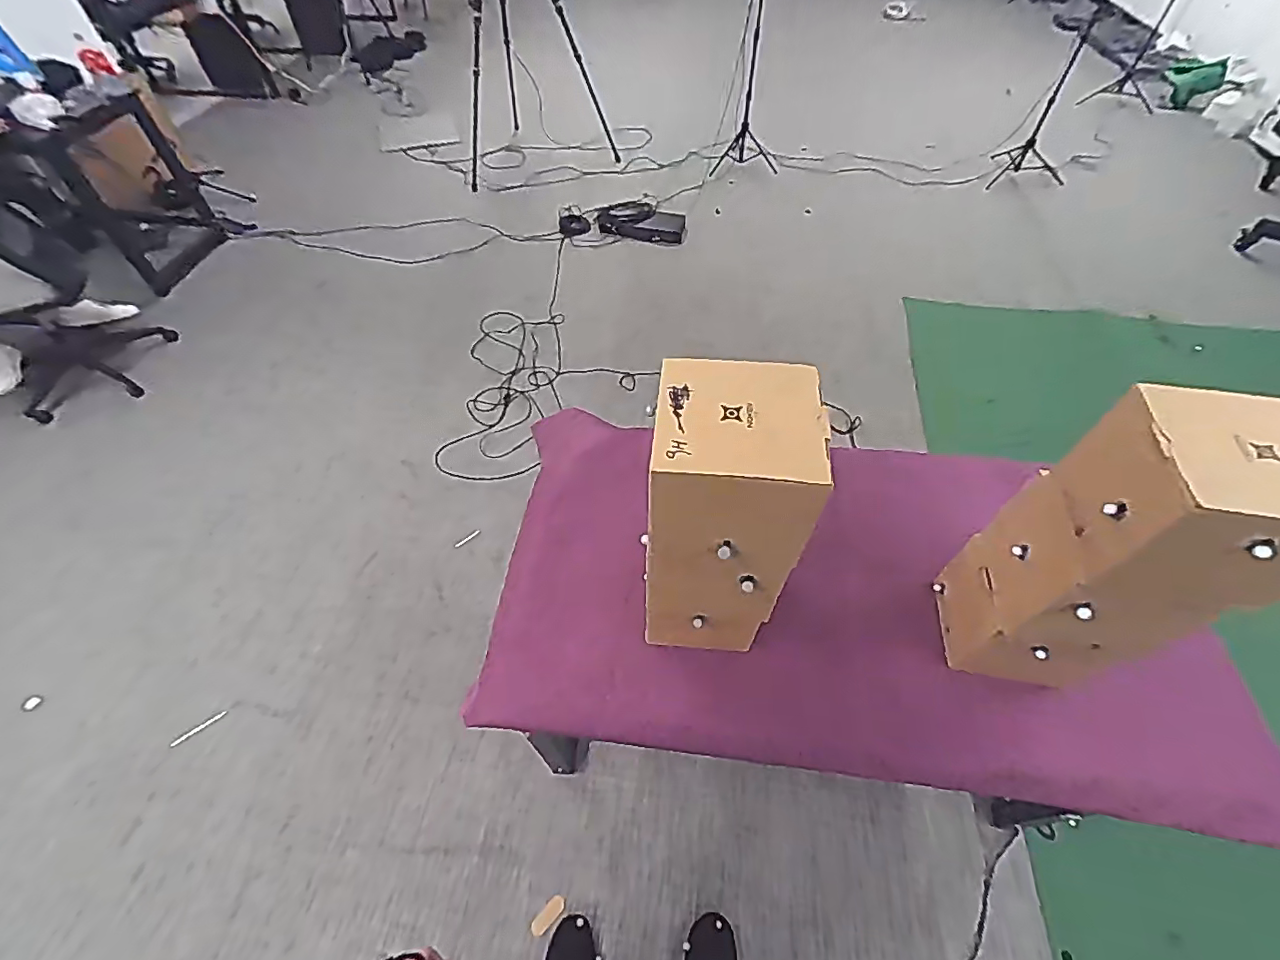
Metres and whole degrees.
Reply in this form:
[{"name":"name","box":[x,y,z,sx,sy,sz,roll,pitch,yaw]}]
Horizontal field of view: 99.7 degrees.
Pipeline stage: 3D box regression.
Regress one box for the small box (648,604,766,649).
[{"name":"small box","box":[0.107,0.172,0.900,0.179,0.176,0.168,3,53,5]}]

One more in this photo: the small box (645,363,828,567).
[{"name":"small box","box":[0.102,-0.012,0.627,0.179,0.176,0.168,5,53,4]}]

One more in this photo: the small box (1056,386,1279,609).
[{"name":"small box","box":[0.594,0.023,0.586,0.179,0.176,0.168,9,54,8]}]

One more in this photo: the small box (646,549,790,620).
[{"name":"small box","box":[0.104,0.084,0.760,0.179,0.176,0.168,5,53,5]}]

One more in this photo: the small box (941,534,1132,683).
[{"name":"small box","box":[0.602,0.207,0.857,0.179,0.176,0.168,7,53,7]}]
